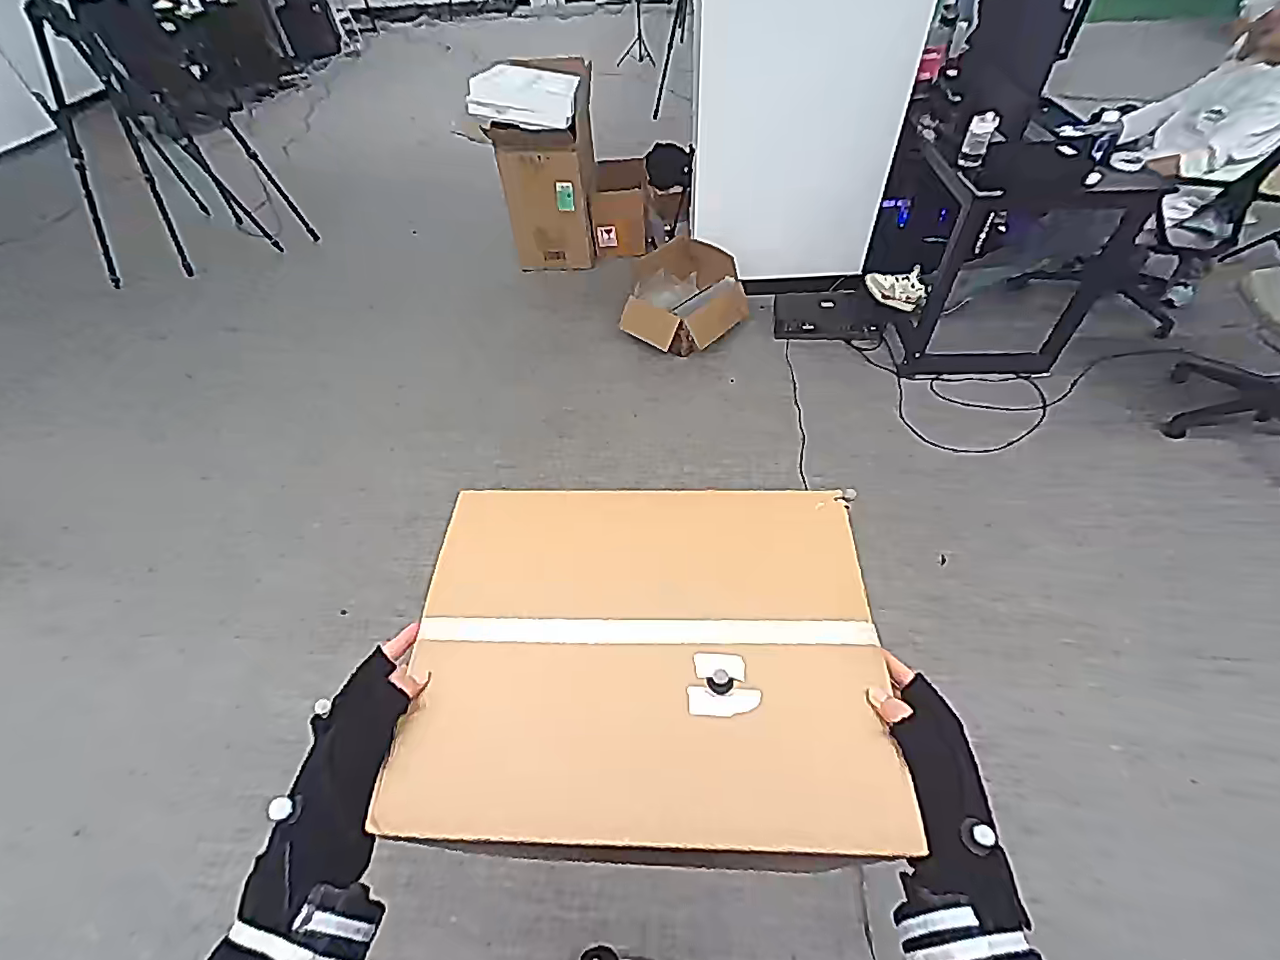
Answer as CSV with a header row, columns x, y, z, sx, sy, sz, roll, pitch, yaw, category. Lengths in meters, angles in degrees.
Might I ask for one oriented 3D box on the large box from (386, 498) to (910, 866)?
x,y,z,sx,sy,sz,roll,pitch,yaw,category
0.010,0.233,0.610,0.408,0.320,0.320,0,52,3,large box
